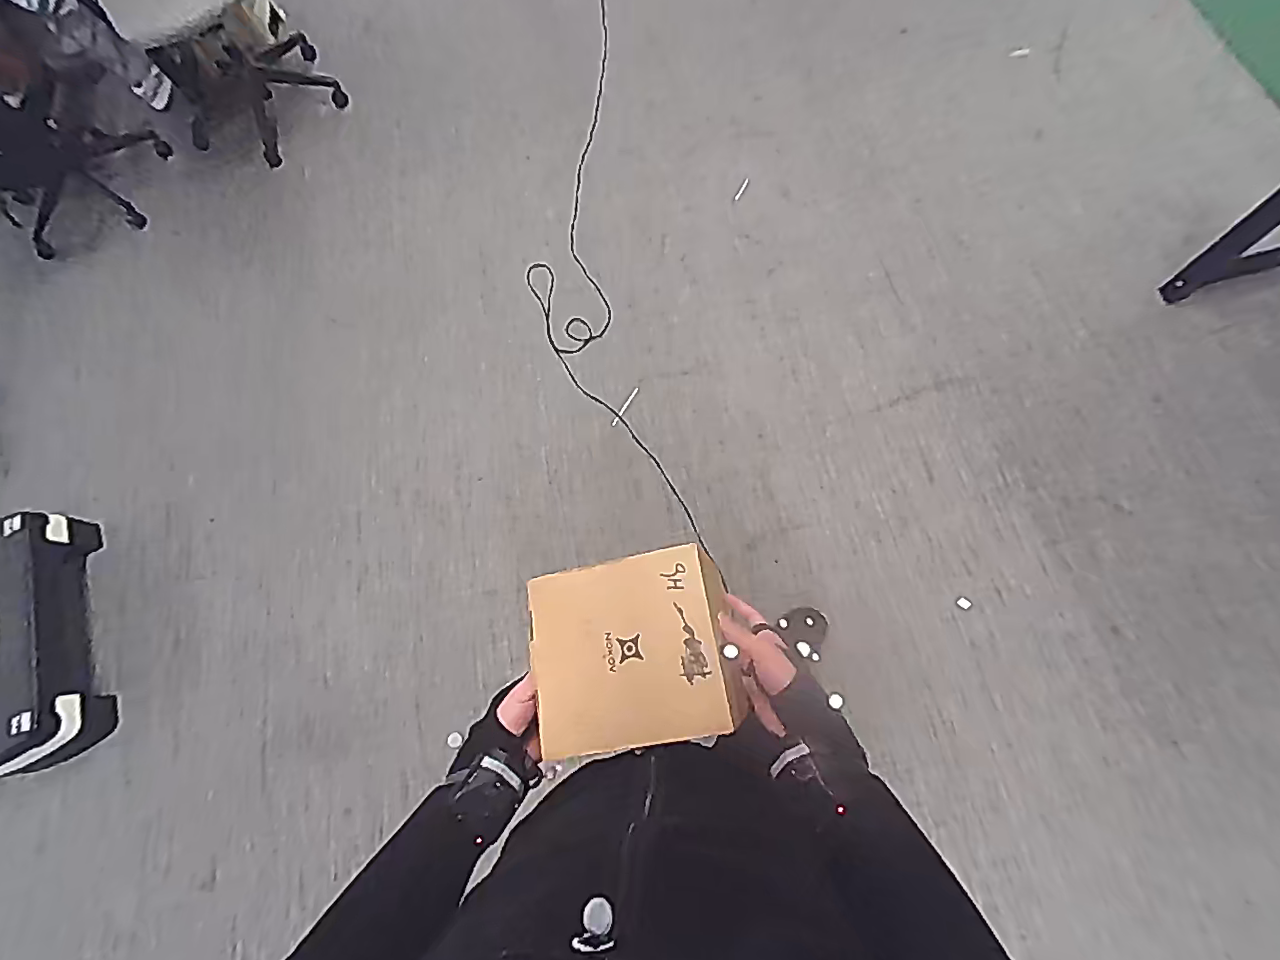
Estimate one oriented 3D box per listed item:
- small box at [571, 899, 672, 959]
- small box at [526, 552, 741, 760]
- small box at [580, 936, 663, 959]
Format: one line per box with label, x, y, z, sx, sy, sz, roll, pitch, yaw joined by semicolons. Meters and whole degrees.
small box;-0.029;1.029;1.136;0.179;0.176;0.168;-16;72;0
small box;-0.001;0.184;0.567;0.179;0.176;0.168;-12;70;11
small box;-0.038;0.980;0.980;0.179;0.176;0.168;-16;72;0
